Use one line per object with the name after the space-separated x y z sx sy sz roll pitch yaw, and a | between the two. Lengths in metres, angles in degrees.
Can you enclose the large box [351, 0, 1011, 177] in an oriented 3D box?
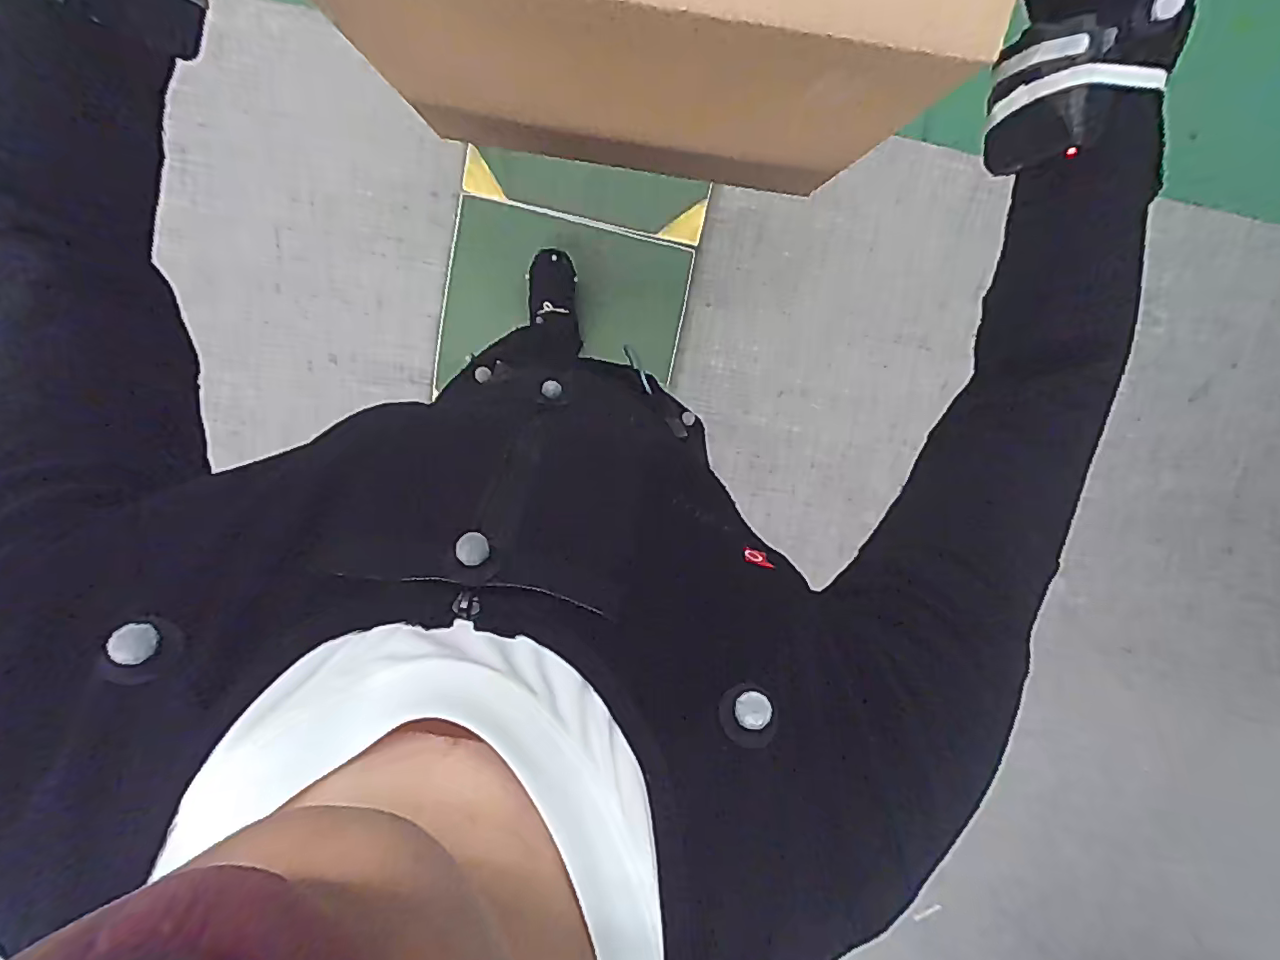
0.017 -0.454 0.398 0.408 0.320 0.320 6 106 -5 | large box
